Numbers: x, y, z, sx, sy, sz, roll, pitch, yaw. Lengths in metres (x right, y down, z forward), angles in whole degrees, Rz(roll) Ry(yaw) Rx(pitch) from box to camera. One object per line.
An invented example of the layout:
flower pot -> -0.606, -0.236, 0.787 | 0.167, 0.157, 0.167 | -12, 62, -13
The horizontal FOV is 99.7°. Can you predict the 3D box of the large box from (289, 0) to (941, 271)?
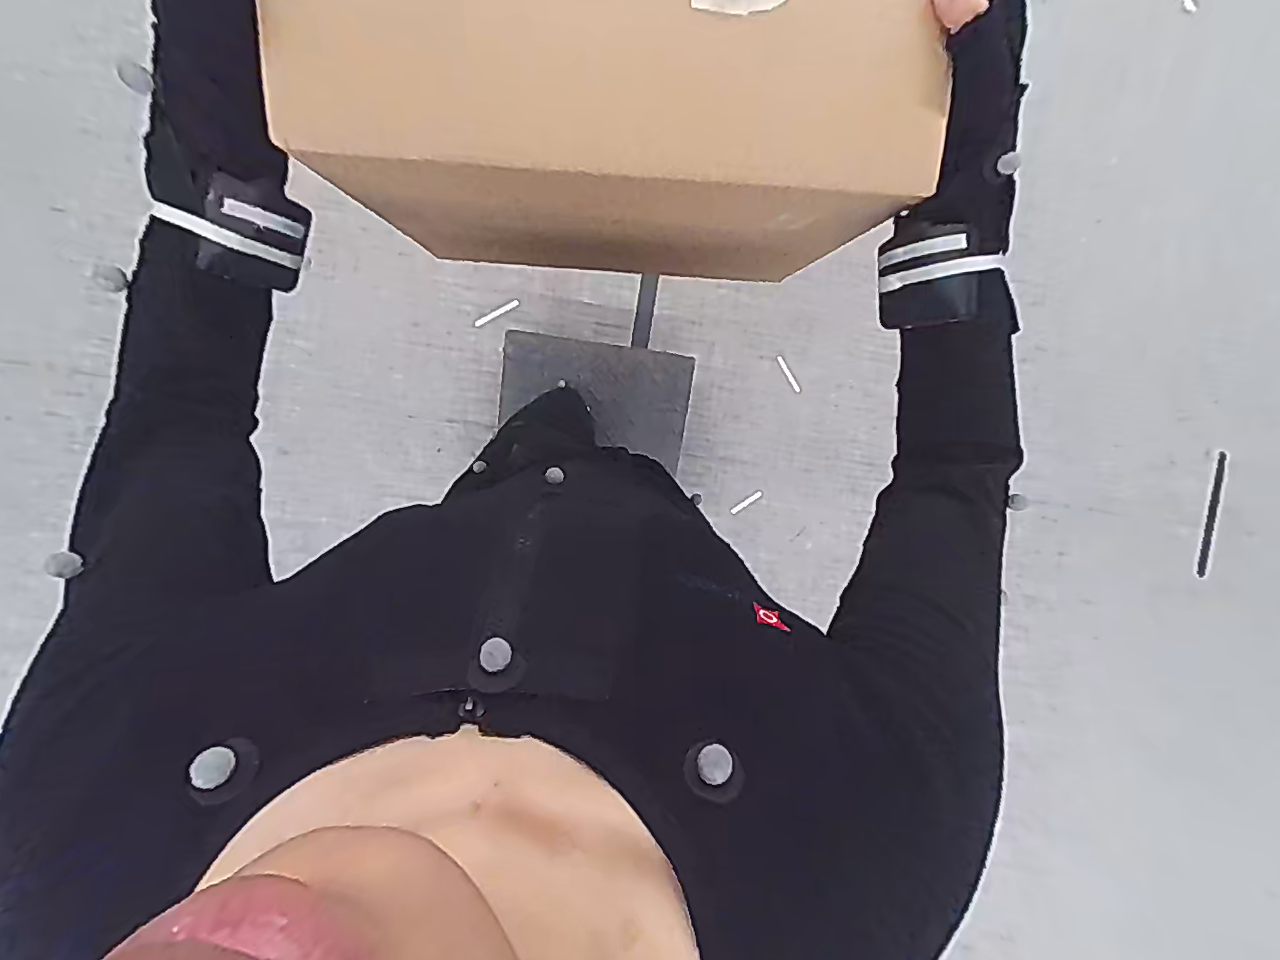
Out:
large box -> -0.017, -0.378, 0.465 | 0.408, 0.320, 0.320 | 2, 101, -4
